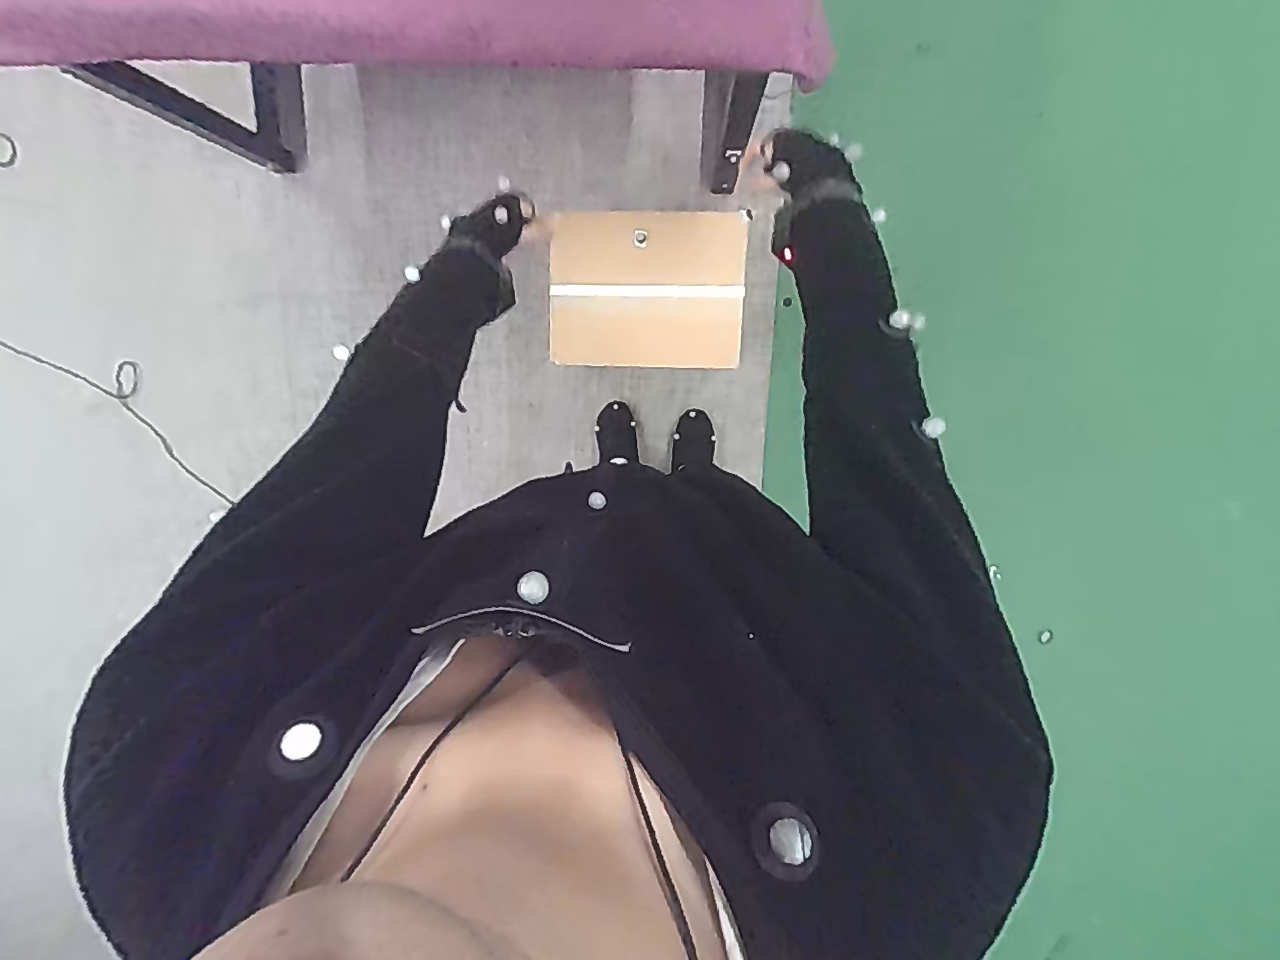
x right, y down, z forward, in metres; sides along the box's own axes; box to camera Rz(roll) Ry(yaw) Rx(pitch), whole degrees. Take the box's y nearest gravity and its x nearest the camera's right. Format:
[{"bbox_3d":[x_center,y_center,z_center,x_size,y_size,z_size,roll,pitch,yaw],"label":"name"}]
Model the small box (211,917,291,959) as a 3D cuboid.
[{"bbox_3d":[-1.098,1.354,1.467,0.168,0.176,0.179,36,103,-4],"label":"small box"}]
